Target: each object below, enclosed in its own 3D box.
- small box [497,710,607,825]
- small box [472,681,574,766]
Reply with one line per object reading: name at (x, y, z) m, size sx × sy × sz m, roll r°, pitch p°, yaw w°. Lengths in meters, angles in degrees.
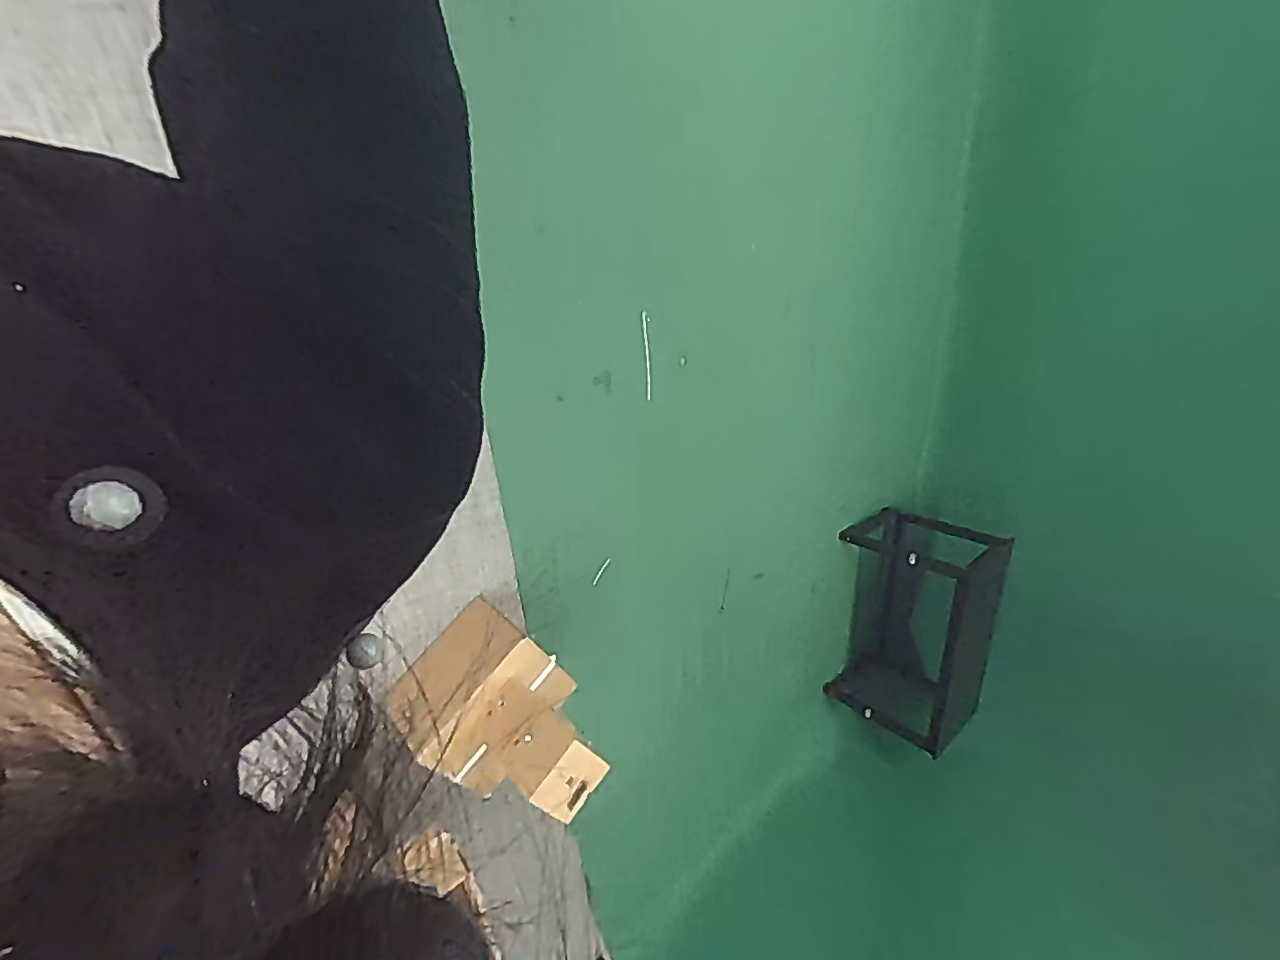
small box at (-0.223, 0.716, 1.360) m, size 0.168 × 0.176 × 0.179 m, roll -48°, pitch 128°, yaw -20°
small box at (-0.323, 0.686, 1.487) m, size 0.168 × 0.176 × 0.179 m, roll -52°, pitch 130°, yaw -17°
